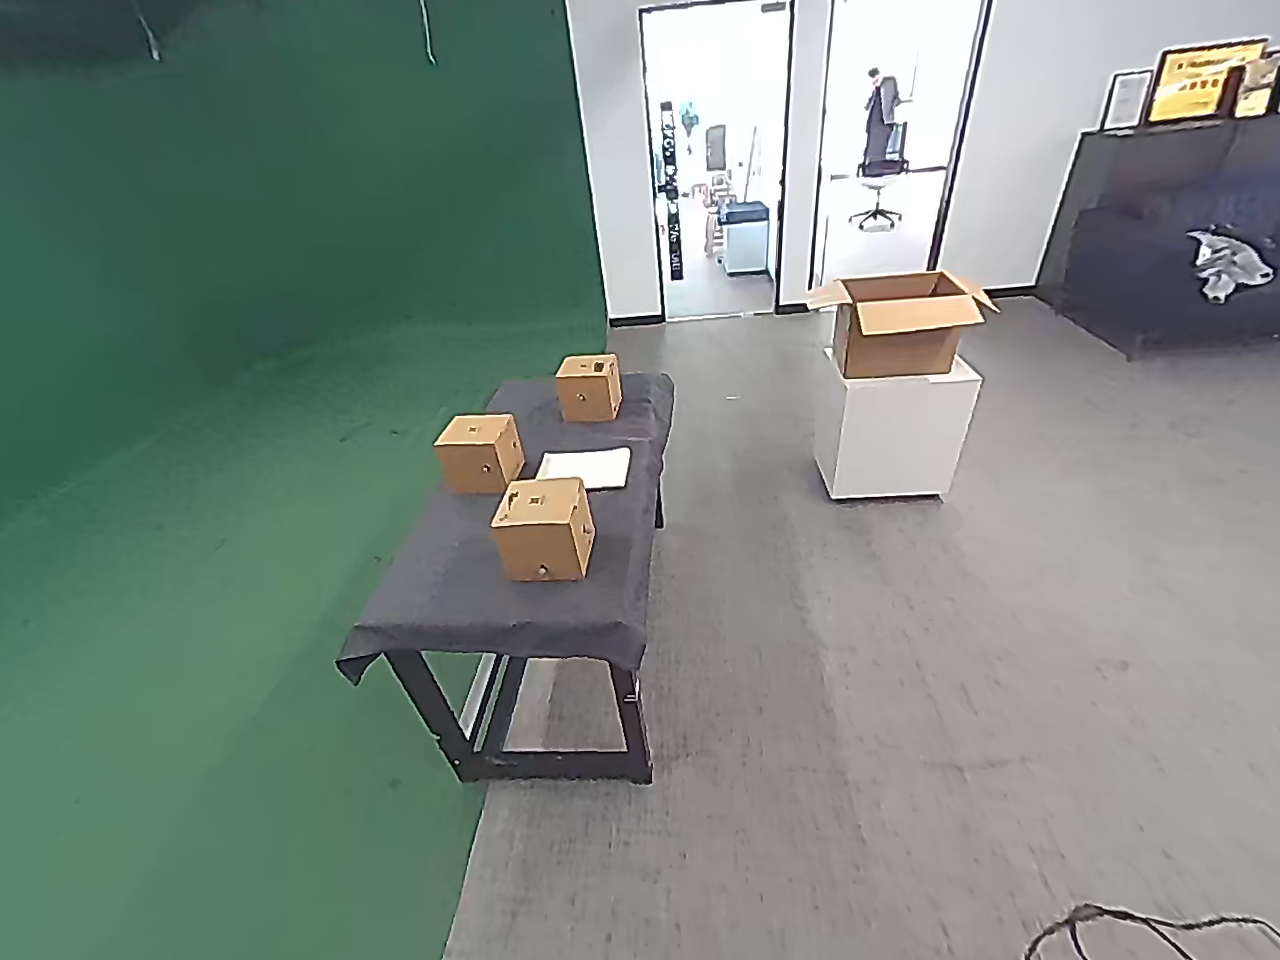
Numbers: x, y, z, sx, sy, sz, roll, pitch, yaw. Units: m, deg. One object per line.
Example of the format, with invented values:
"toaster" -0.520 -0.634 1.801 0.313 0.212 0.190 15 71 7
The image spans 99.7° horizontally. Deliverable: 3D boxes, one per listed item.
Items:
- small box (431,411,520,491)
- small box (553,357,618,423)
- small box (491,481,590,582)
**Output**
"small box" -0.457 -0.080 1.534 0.179 0.176 0.168 -2 35 7
"small box" -0.175 -0.302 1.823 0.179 0.176 0.168 0 36 9
"small box" -0.217 0.119 1.239 0.179 0.176 0.168 -2 35 7
